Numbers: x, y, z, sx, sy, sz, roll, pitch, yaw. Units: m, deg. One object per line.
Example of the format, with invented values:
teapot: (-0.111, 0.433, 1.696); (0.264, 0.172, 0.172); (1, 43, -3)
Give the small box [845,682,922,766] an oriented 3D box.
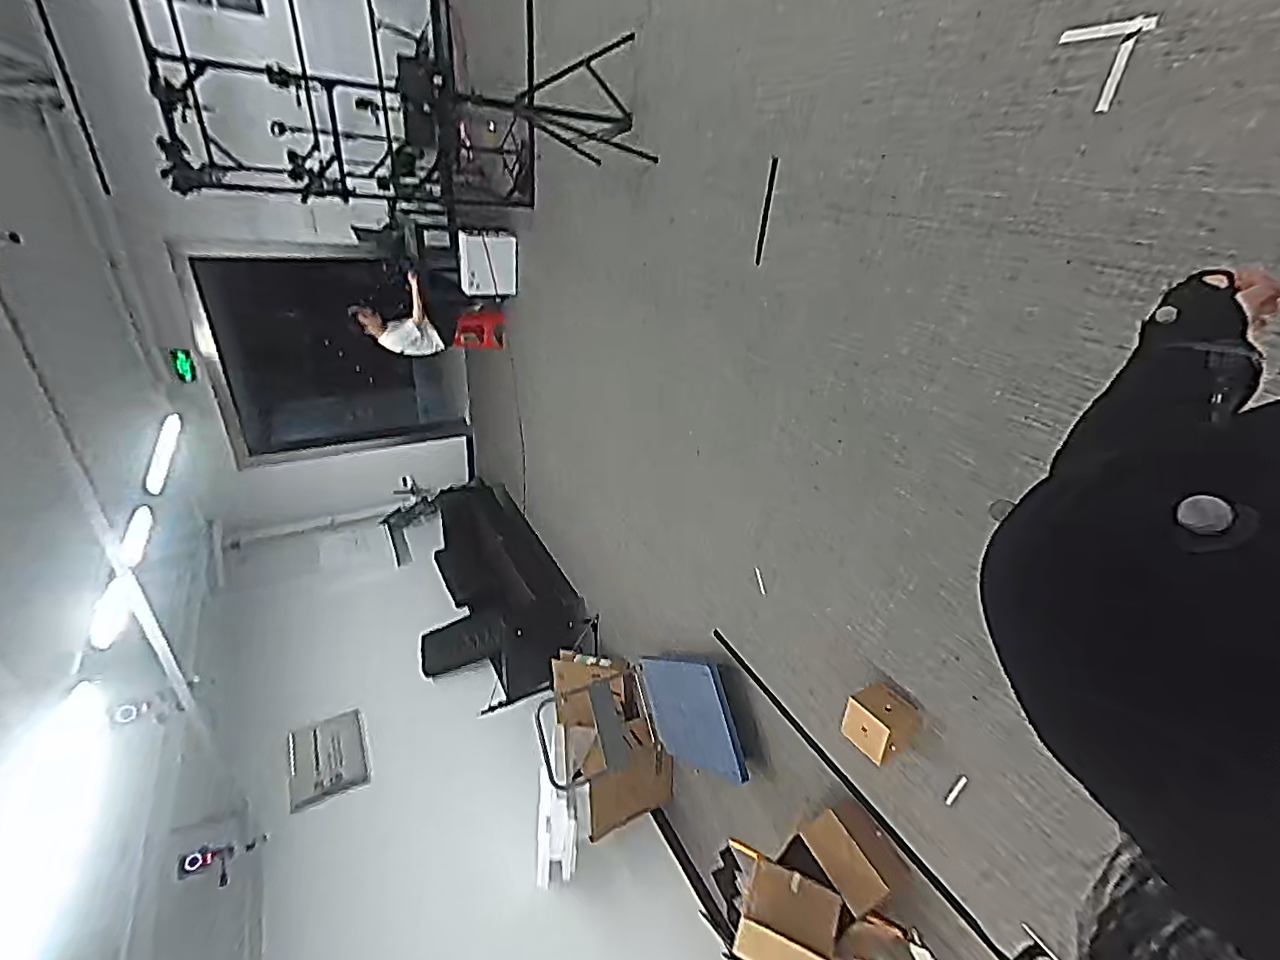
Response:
small box: (0.851, 0.844, 1.888); (0.168, 0.176, 0.179); (36, 132, 52)
